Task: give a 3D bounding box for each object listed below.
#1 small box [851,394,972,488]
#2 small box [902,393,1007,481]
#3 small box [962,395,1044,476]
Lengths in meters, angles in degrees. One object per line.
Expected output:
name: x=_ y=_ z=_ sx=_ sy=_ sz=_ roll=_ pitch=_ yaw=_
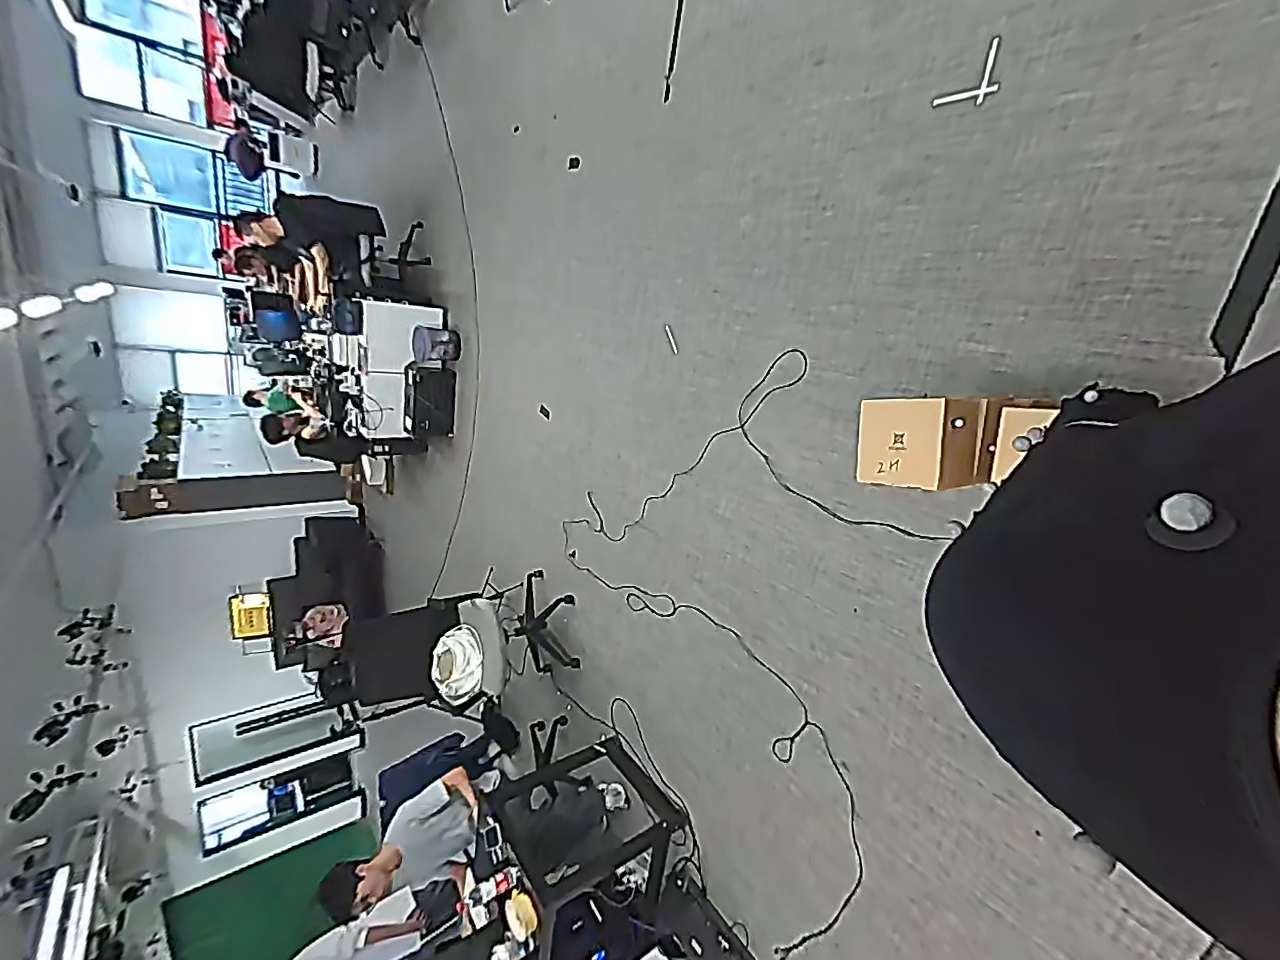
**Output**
small box: x=0.561 y=-0.085 z=1.114 sx=0.168 sy=0.176 sz=0.179 roll=10 pitch=102 yaw=50
small box: x=0.694 y=-0.101 z=1.211 sx=0.168 sy=0.176 sz=0.179 roll=15 pitch=104 yaw=49
small box: x=0.838 y=-0.112 z=1.294 sx=0.168 sy=0.176 sz=0.179 roll=13 pitch=104 yaw=50
